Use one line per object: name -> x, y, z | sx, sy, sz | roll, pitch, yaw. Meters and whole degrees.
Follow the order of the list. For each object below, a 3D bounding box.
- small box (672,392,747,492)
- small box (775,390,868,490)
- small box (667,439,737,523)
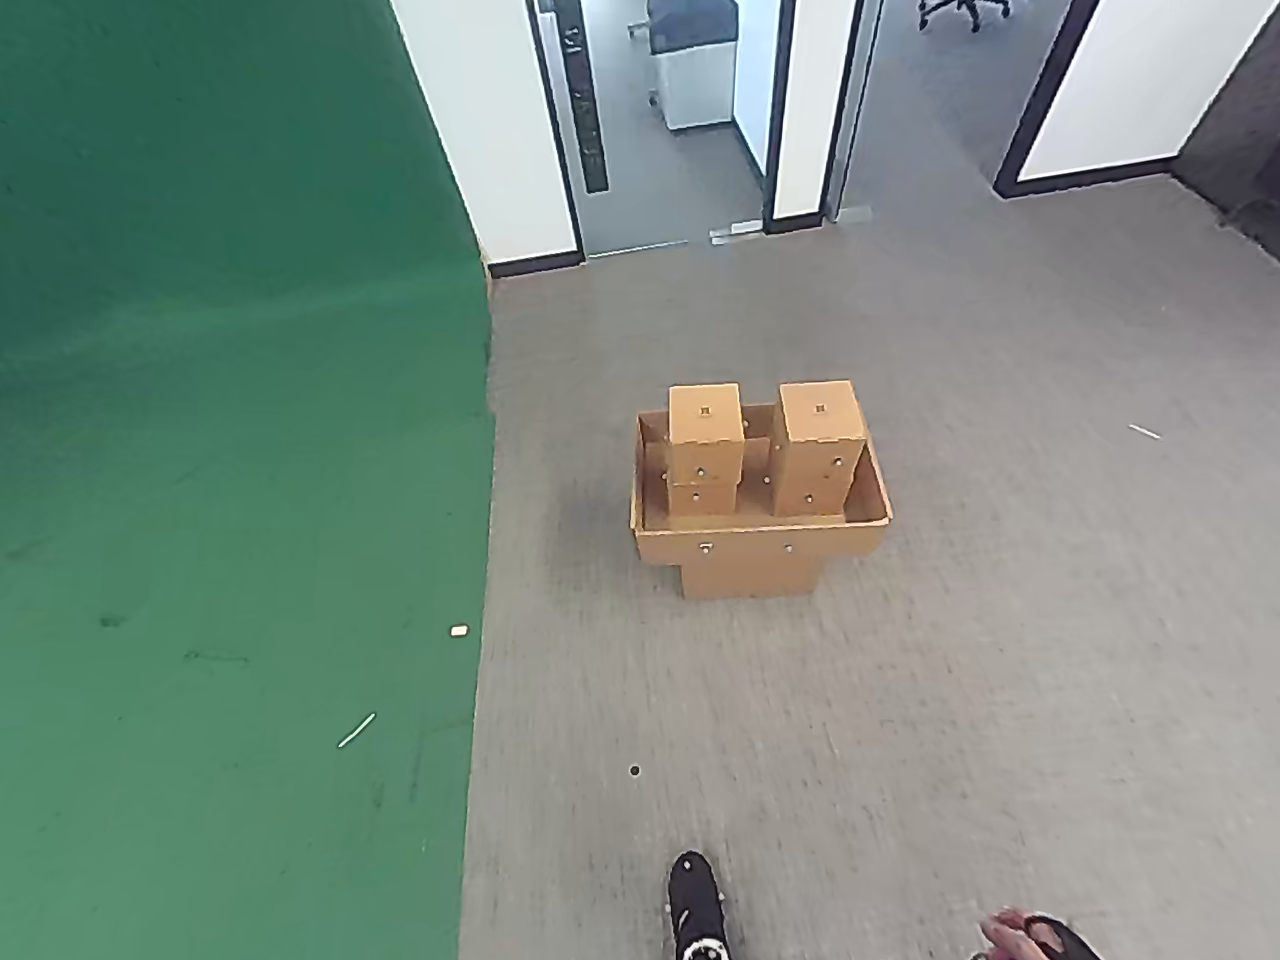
small box -> 0.160, -0.090, 1.297 | 0.168, 0.176, 0.179 | -1, 54, 4
small box -> 0.414, -0.088, 1.264 | 0.168, 0.176, 0.179 | -1, 54, 5
small box -> 0.165, 0.003, 1.431 | 0.179, 0.176, 0.168 | -1, 53, 6
